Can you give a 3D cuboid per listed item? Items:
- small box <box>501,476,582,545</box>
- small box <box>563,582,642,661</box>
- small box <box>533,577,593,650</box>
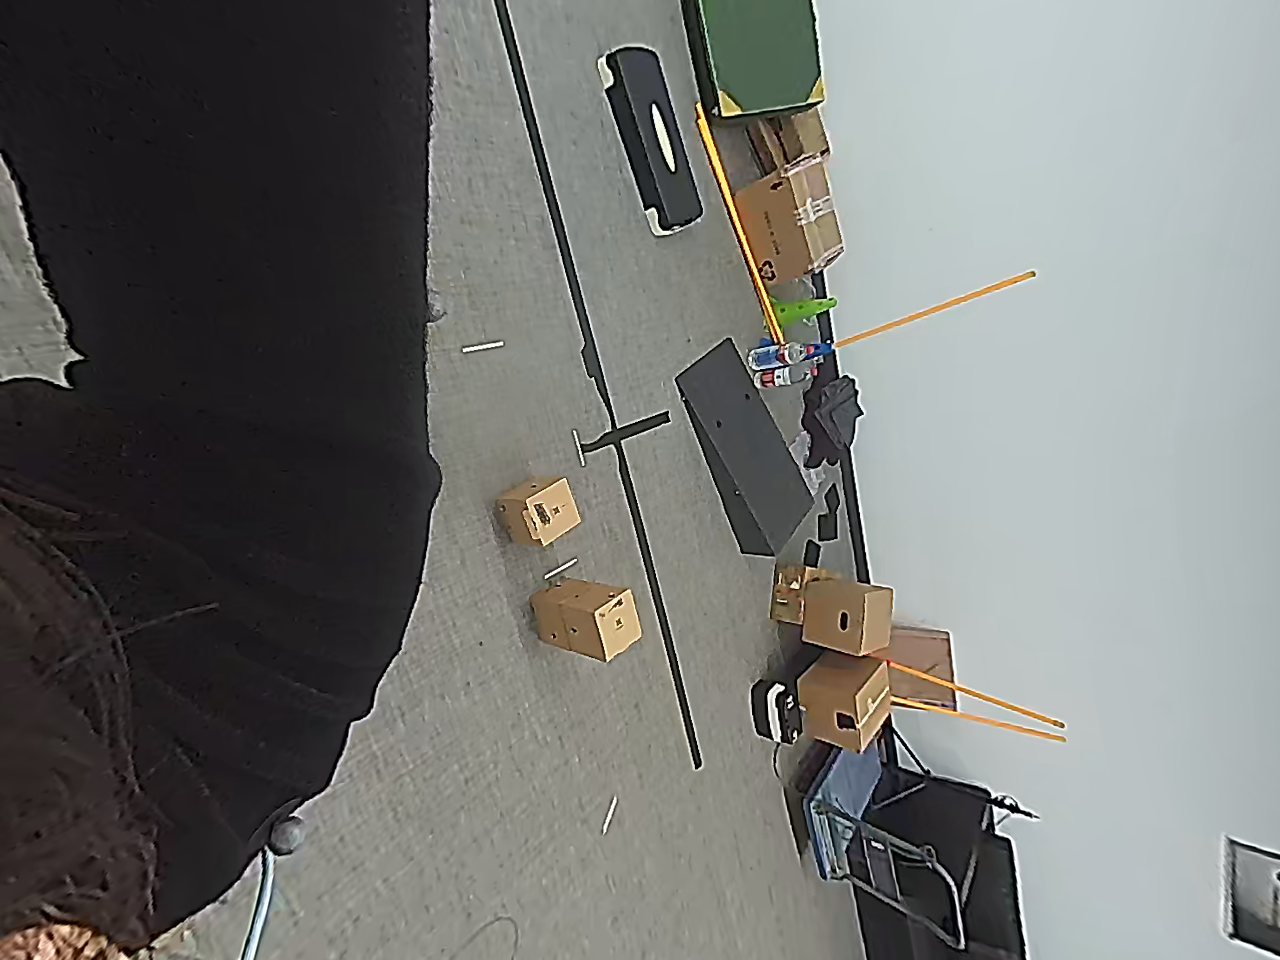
[{"bbox_3d":[-0.327,0.096,1.757,0.179,0.176,0.168,-34,114,-41],"label":"small box"},{"bbox_3d":[-0.122,0.448,1.736,0.168,0.176,0.179,-25,108,-44],"label":"small box"},{"bbox_3d":[-0.241,0.450,1.848,0.168,0.176,0.179,-23,106,-44],"label":"small box"}]
